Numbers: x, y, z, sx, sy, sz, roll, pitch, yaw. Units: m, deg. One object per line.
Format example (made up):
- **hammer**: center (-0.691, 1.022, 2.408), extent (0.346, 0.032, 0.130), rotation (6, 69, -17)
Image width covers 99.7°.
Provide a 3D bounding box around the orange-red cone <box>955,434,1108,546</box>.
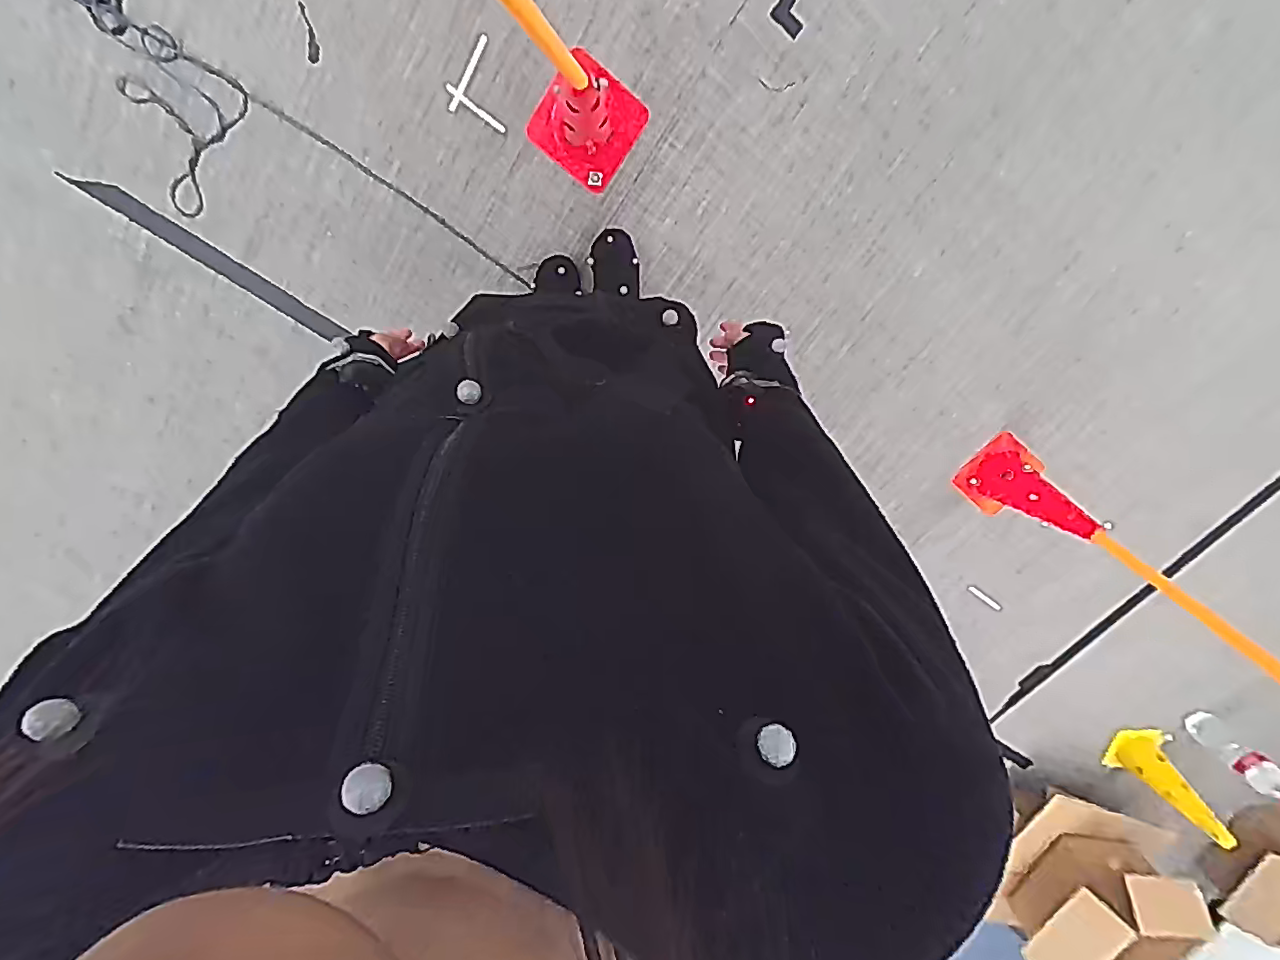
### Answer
- **orange-red cone**: center (1.030, 0.059, 1.379), extent (0.199, 0.360, 0.198), rotation (36, 108, -18)
